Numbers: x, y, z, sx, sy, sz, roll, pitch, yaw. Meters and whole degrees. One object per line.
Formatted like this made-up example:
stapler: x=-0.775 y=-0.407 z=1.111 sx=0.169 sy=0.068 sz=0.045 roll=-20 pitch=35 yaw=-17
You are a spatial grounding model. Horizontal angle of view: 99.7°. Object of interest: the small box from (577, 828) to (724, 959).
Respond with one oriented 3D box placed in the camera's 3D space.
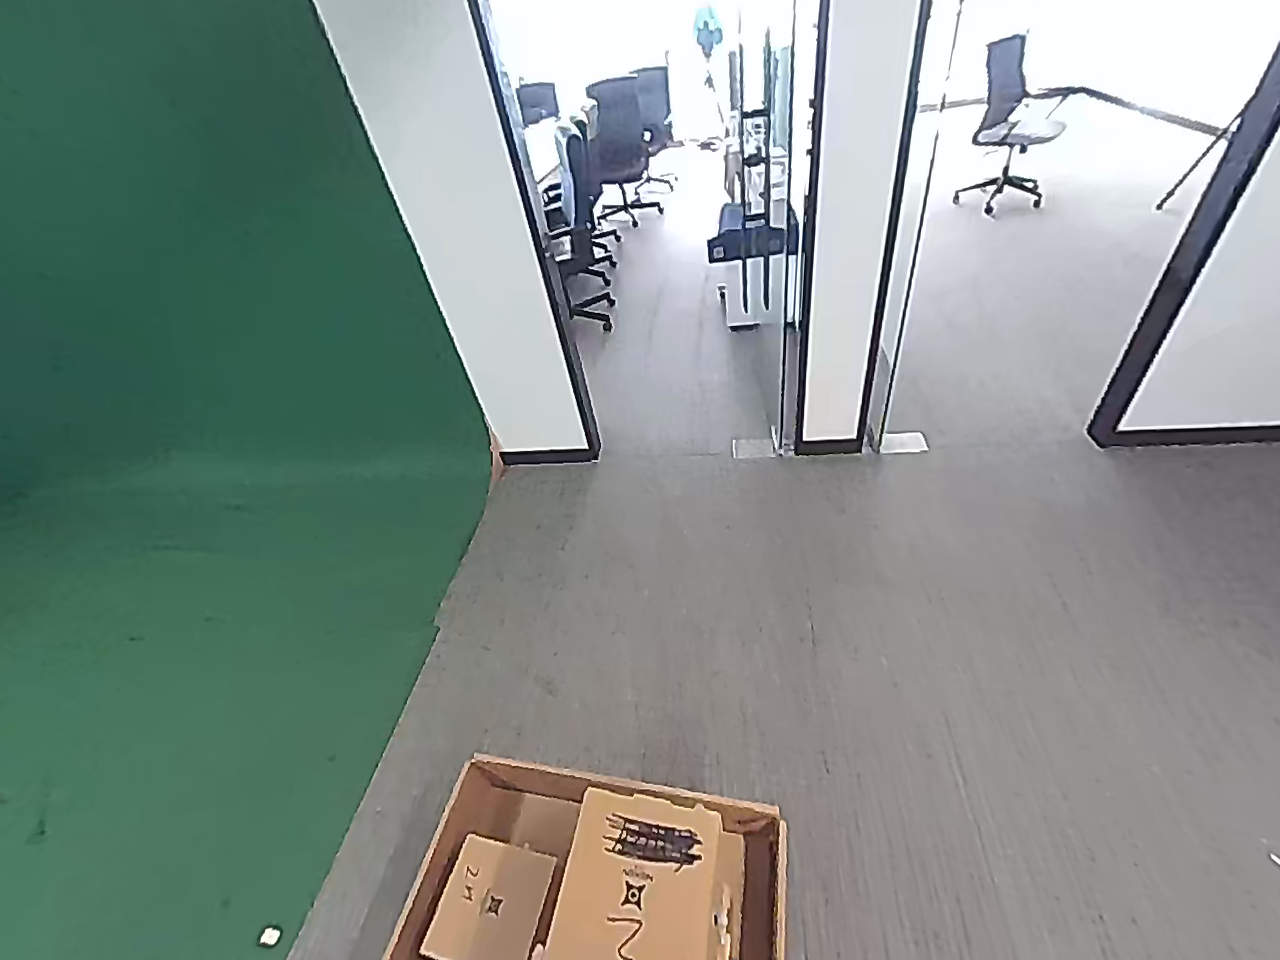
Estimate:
small box: x=0.025 y=0.620 z=0.747 sx=0.168 sy=0.176 sz=0.179 roll=3 pitch=43 yaw=14
